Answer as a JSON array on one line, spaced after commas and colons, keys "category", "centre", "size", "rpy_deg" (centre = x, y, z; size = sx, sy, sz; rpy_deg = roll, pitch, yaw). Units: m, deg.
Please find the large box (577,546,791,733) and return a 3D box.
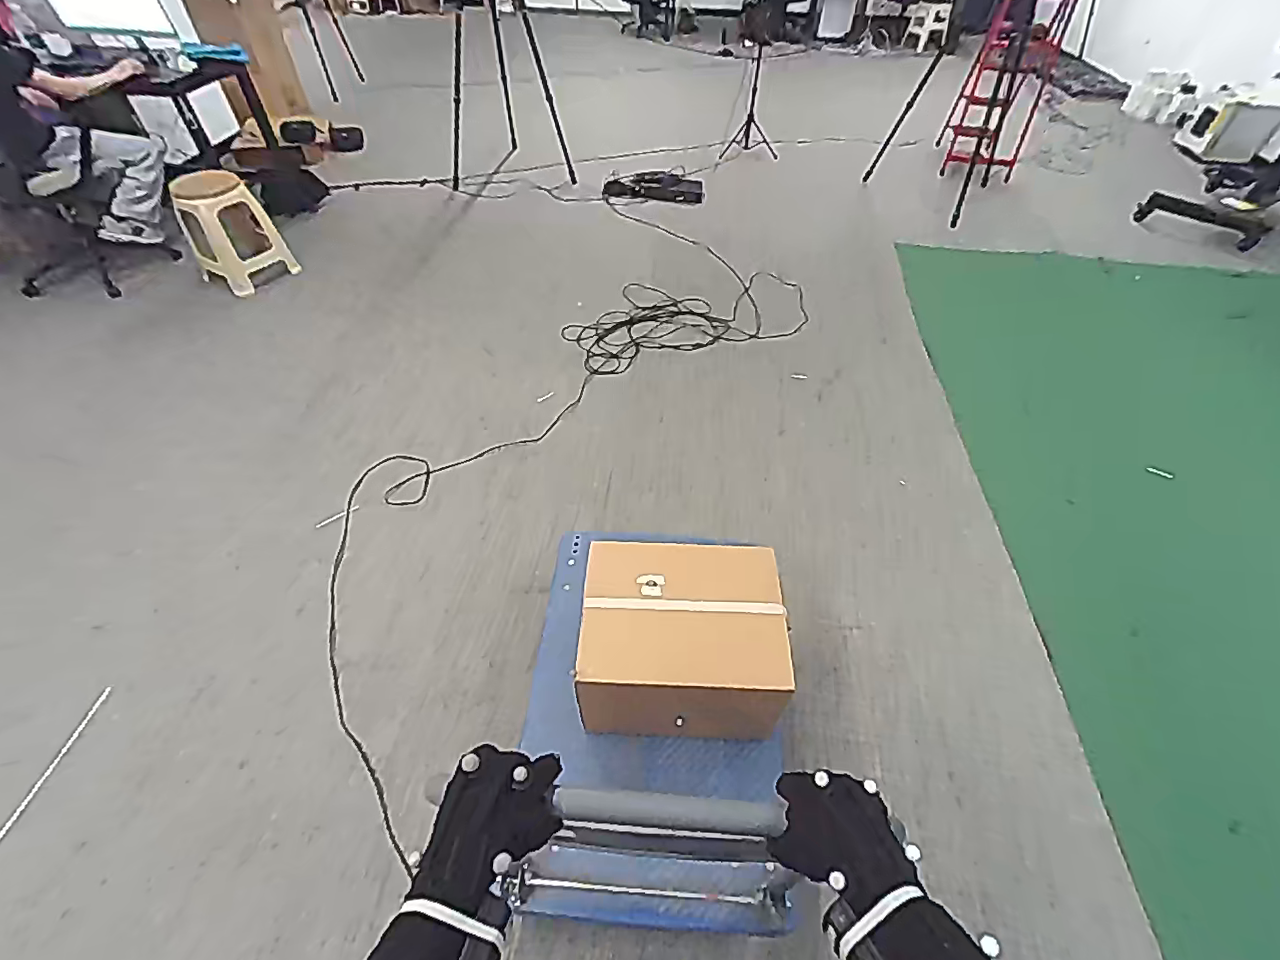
[{"category": "large box", "centre": [0.089, 0.360, 1.208], "size": [0.408, 0.320, 0.320], "rpy_deg": [1, 48, 2]}]
